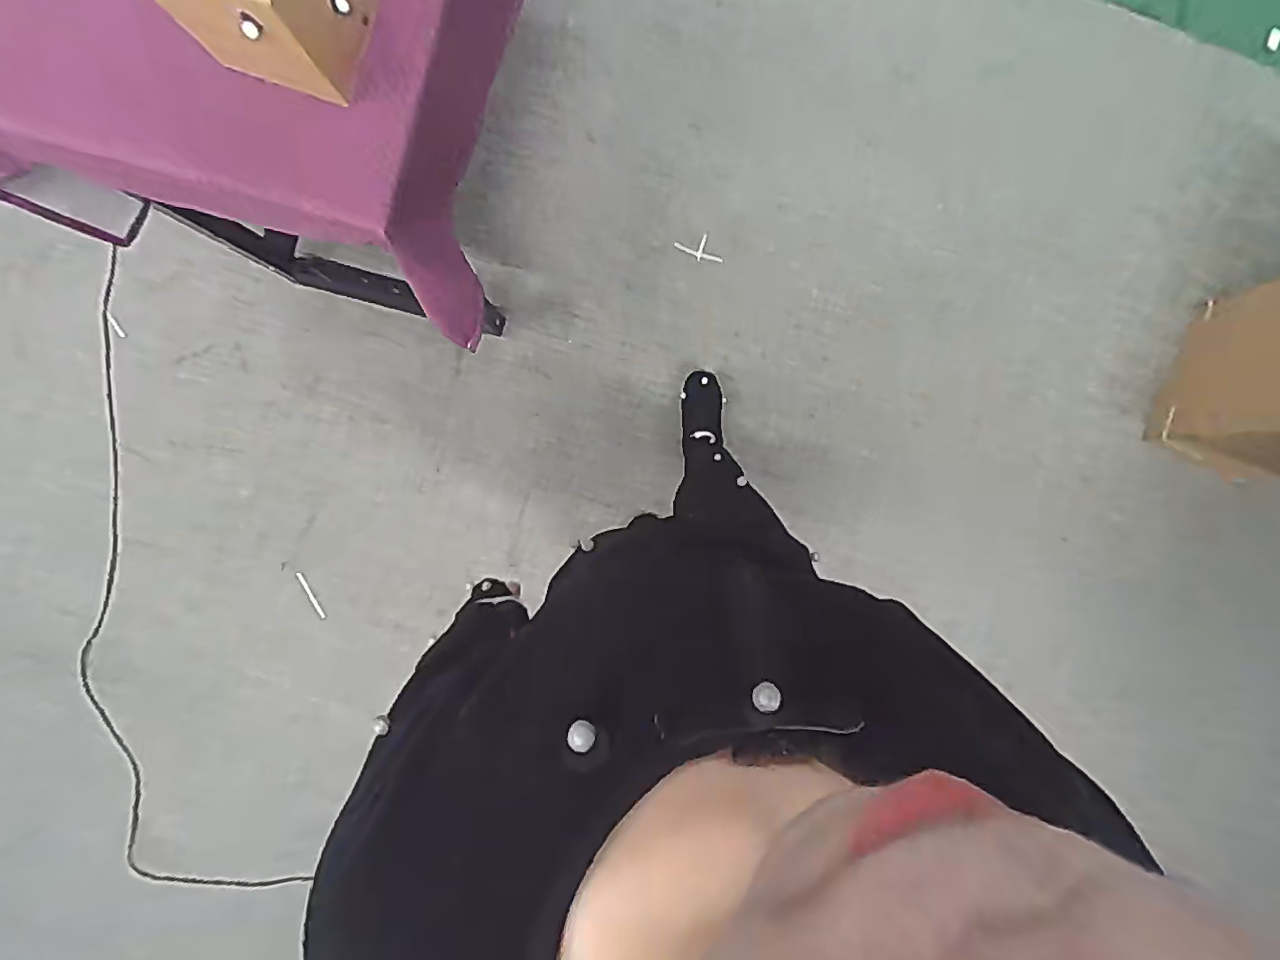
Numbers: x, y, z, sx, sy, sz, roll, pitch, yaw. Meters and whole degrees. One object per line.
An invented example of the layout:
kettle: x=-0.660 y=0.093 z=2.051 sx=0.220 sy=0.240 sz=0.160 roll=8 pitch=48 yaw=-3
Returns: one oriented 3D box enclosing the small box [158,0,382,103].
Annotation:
small box: x=-0.439 y=-0.592 z=0.637 sx=0.179 sy=0.176 sz=0.168 roll=18 pitch=91 yaw=-1
